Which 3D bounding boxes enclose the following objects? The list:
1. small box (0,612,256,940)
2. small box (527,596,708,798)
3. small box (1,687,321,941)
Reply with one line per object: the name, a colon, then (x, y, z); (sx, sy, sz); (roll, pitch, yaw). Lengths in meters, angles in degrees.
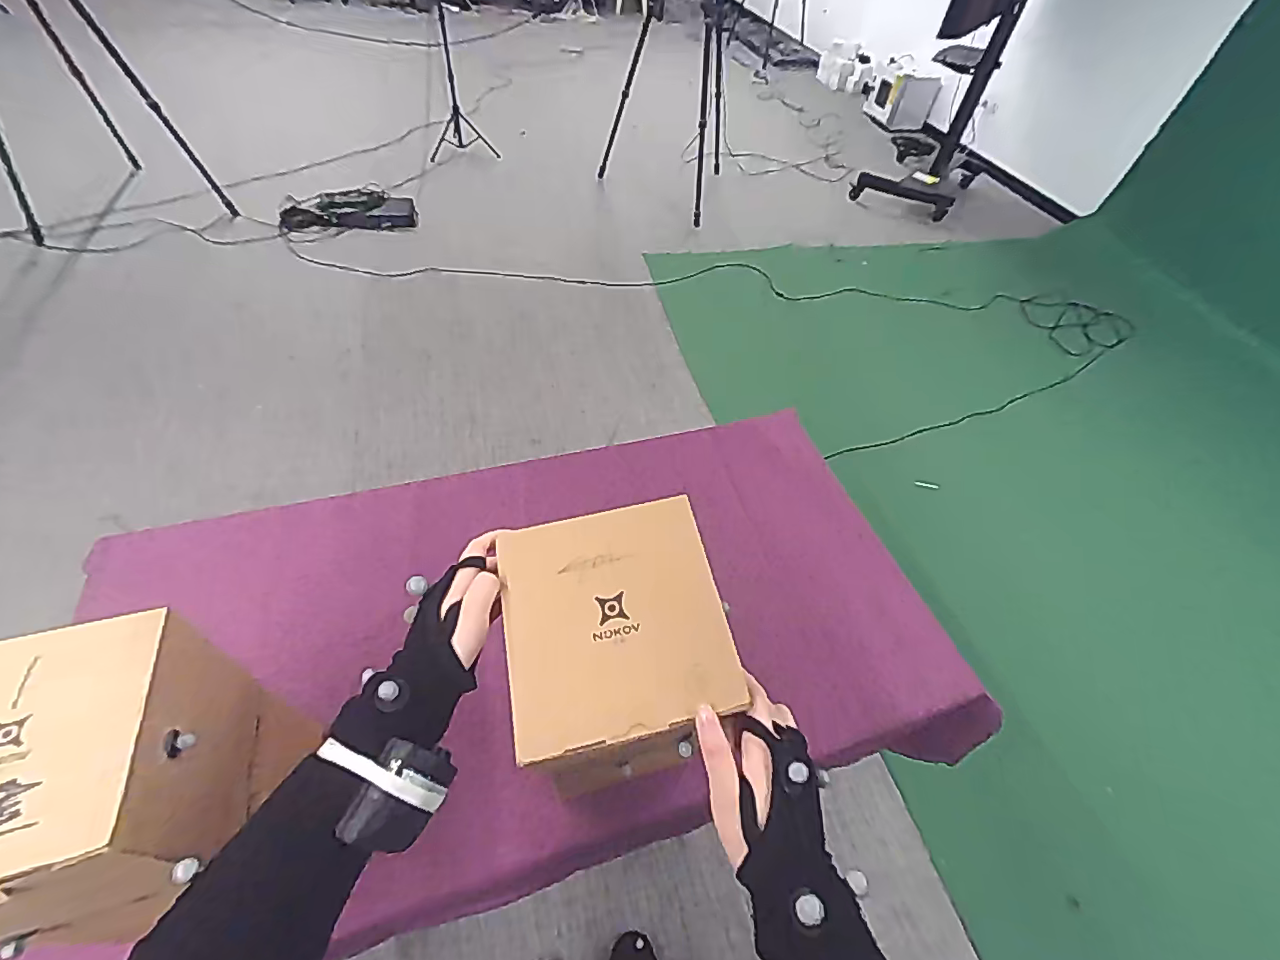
small box: (-0.439, 0.237, 0.431); (0.168, 0.176, 0.179); (-10, 51, -16)
small box: (-0.035, 0.268, 0.664); (0.179, 0.176, 0.168); (-9, 53, -14)
small box: (-0.456, 0.343, 0.555); (0.179, 0.176, 0.168); (-10, 52, -16)
